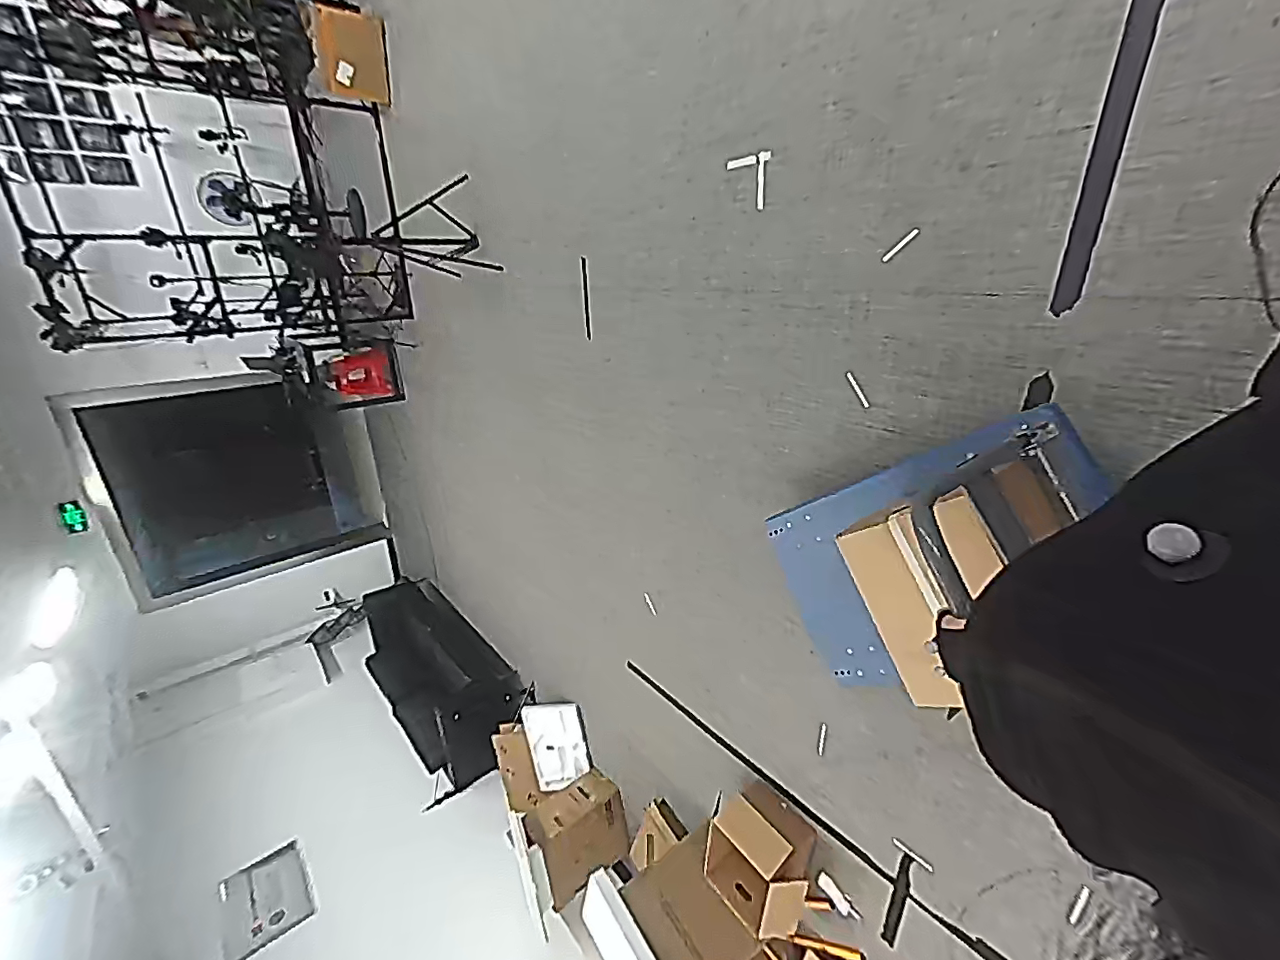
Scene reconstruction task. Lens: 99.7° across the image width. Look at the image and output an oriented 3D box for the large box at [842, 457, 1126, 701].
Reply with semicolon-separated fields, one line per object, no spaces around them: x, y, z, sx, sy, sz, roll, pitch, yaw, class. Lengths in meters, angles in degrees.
0.725;0.212;1.162;0.320;0.320;0.408;-35;76;52;large box
